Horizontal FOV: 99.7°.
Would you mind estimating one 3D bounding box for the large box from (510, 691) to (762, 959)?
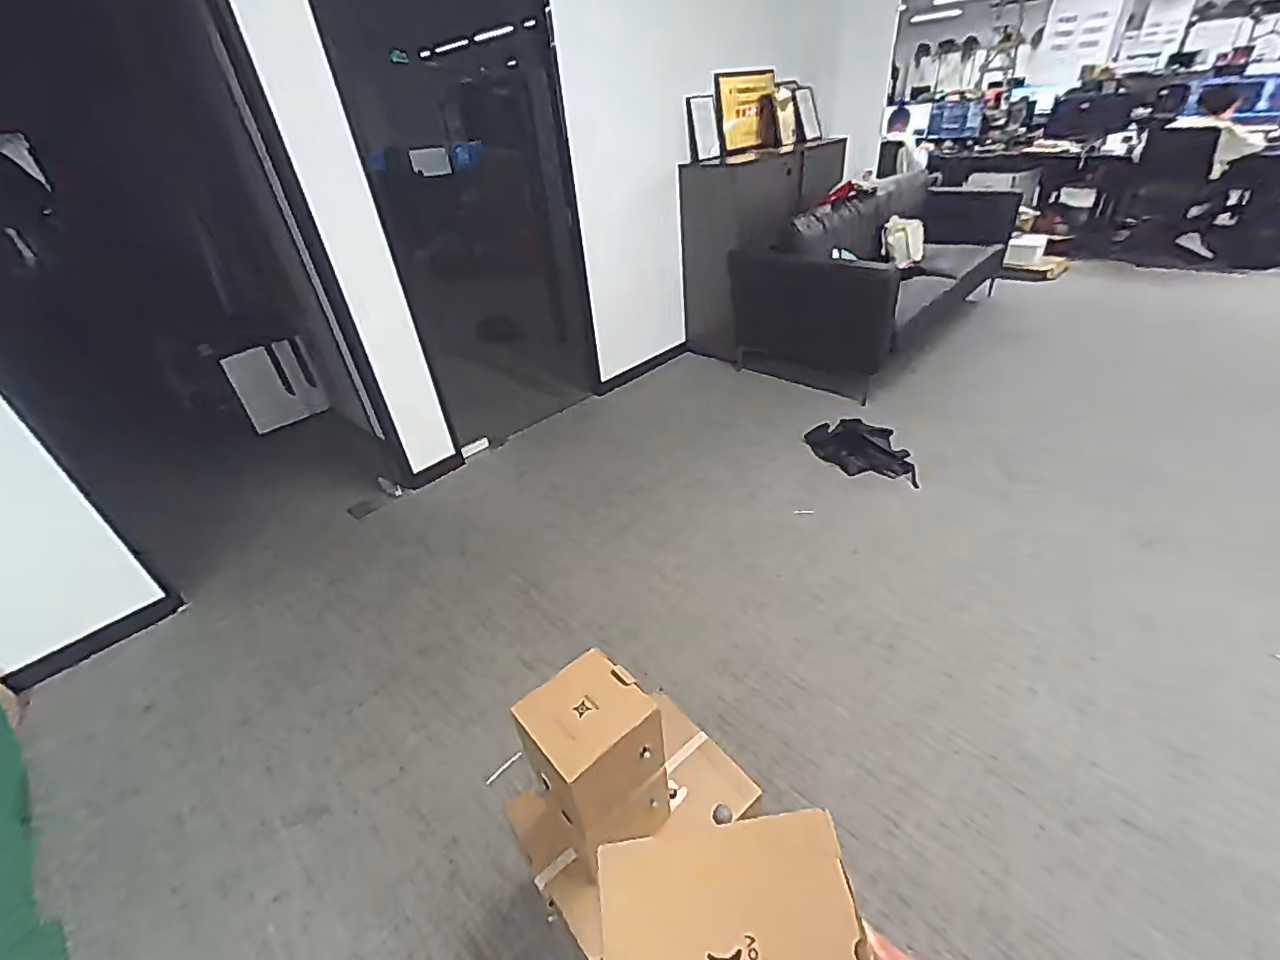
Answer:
[{"bbox_3d":[0.002,0.745,1.123,0.408,0.320,0.320,-27,40,-30],"label":"large box"}]

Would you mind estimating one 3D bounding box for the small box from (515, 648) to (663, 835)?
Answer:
[{"bbox_3d":[-0.075,0.422,0.883,0.179,0.176,0.168,-30,40,-31],"label":"small box"}]
